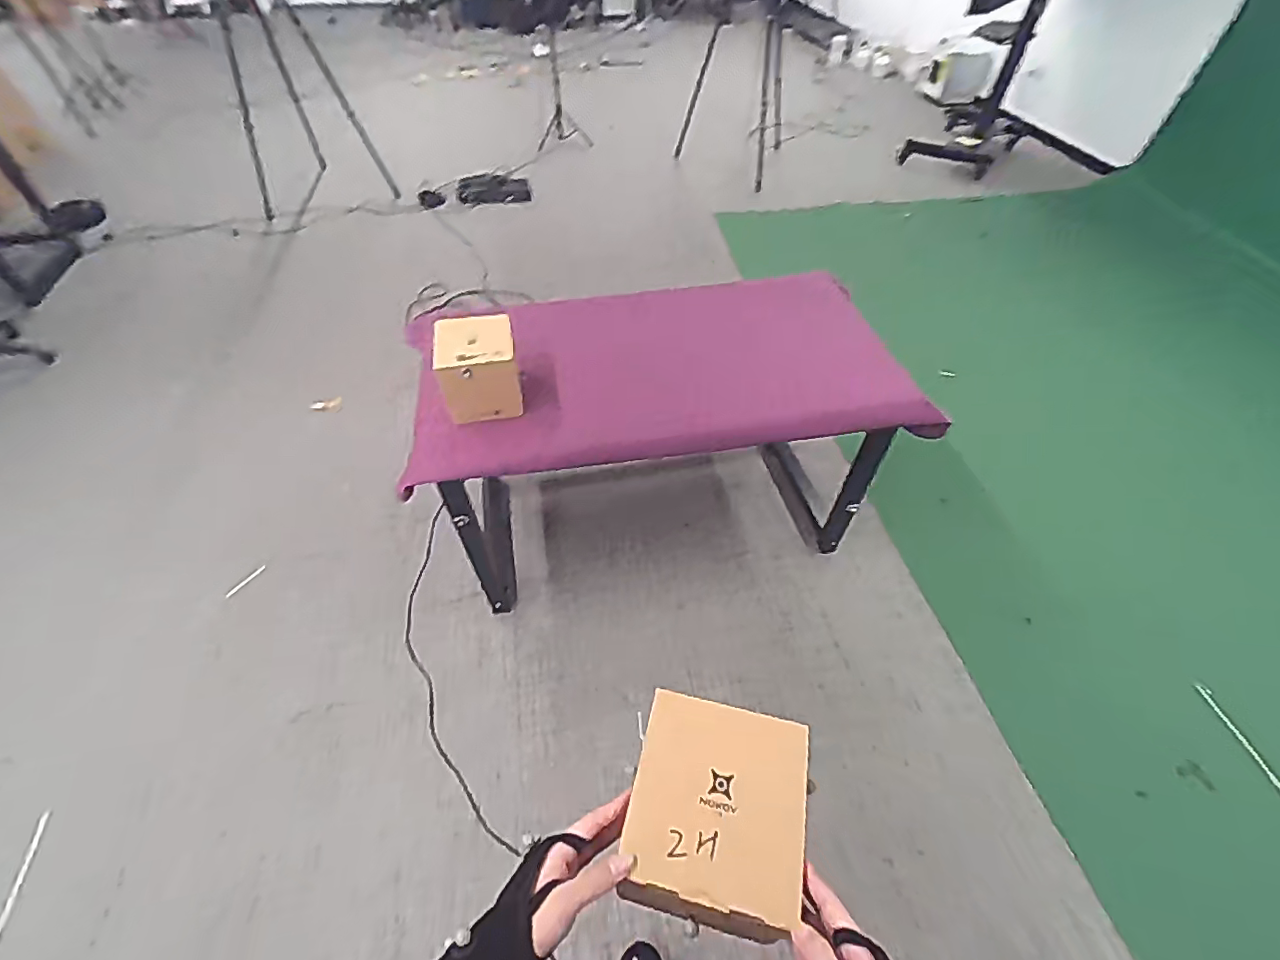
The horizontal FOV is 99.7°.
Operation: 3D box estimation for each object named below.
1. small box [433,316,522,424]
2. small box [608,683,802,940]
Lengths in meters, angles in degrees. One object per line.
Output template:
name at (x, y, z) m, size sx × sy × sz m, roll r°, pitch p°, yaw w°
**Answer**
small box at (-0.371, -0.254, 1.250) m, size 0.168 × 0.176 × 0.179 m, roll -9°, pitch 50°, yaw -9°
small box at (0.068, 0.352, 0.576) m, size 0.168 × 0.176 × 0.179 m, roll 10°, pitch 47°, yaw 10°
